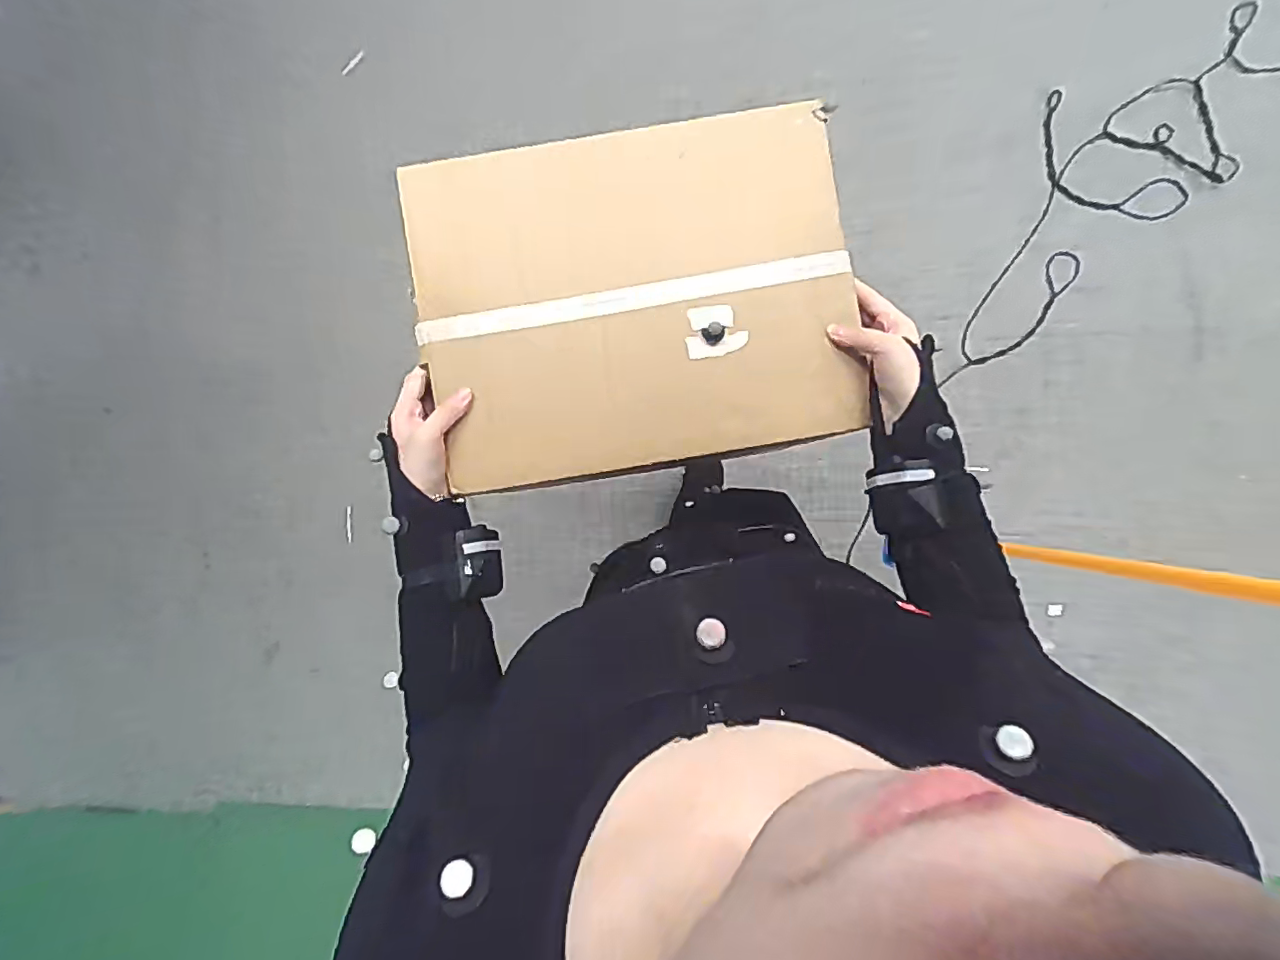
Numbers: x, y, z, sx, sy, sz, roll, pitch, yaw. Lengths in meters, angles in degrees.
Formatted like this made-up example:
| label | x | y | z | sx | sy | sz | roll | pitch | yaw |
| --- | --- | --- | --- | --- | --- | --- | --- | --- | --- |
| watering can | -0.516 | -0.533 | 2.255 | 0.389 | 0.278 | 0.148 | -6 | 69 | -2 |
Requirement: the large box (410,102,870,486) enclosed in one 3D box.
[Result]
| label | x | y | z | sx | sy | sz | roll | pitch | yaw |
| --- | --- | --- | --- | --- | --- | --- | --- | --- | --- |
| large box | -0.003 | -0.177 | 0.661 | 0.408 | 0.320 | 0.320 | -9 | 90 | -1 |

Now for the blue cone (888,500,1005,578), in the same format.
| label | x | y | z | sx | sy | sz | roll | pitch | yaw |
| --- | --- | --- | --- | --- | --- | --- | --- | --- | --- |
| blue cone | 0.724 | 0.151 | 1.240 | 0.193 | 0.380 | 0.192 | 8 | 91 | 9 |
